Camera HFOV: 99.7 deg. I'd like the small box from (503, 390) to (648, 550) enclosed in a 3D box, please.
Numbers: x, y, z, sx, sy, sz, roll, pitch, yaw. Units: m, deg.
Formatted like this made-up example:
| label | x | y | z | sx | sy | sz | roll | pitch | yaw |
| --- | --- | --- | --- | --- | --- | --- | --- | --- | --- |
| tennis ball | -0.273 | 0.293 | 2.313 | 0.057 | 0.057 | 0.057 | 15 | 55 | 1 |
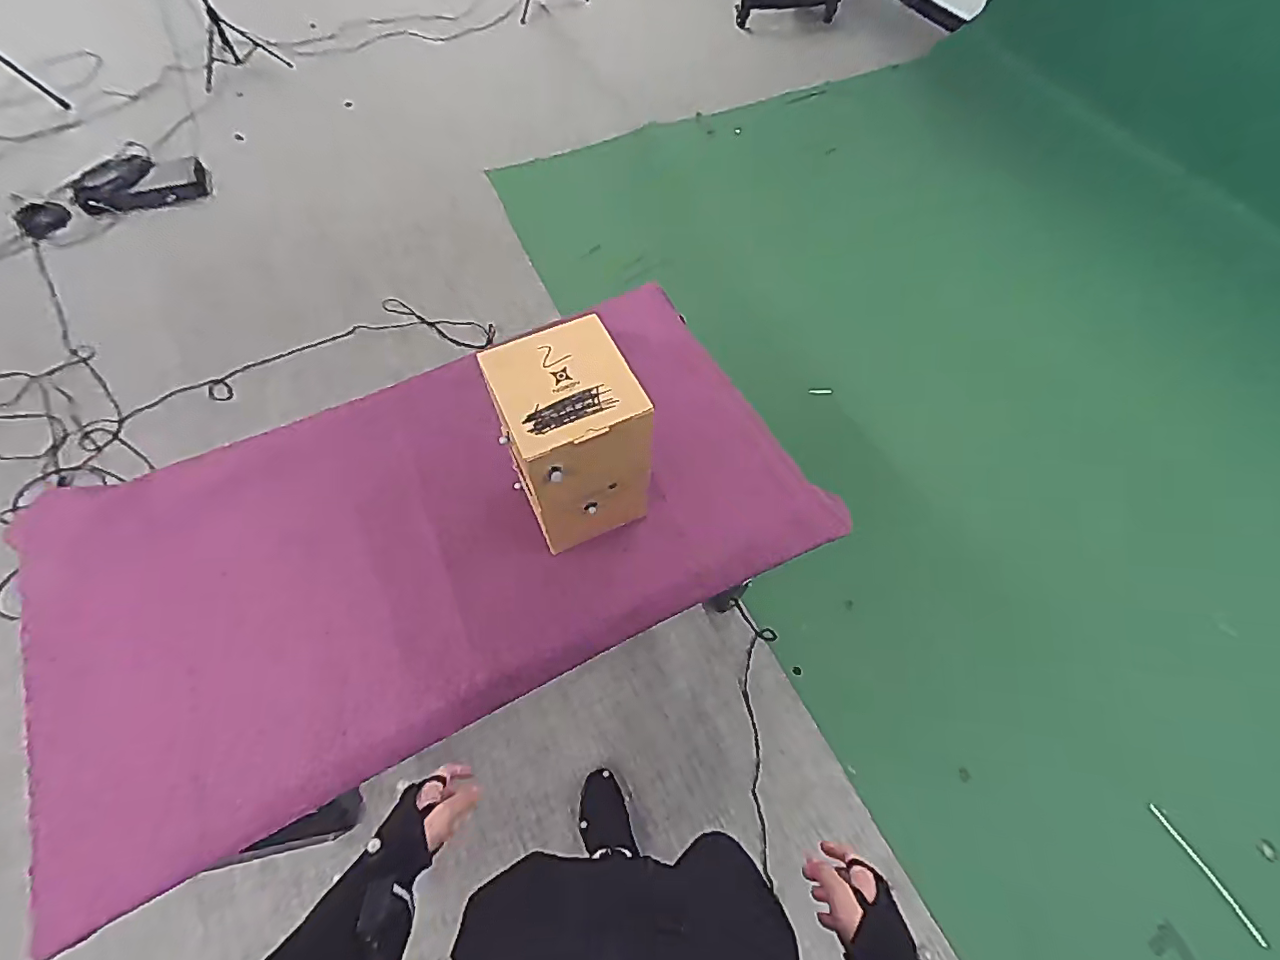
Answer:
| label | x | y | z | sx | sy | sz | roll | pitch | yaw |
| --- | --- | --- | --- | --- | --- | --- | --- | --- | --- |
| small box | -0.099 | -0.010 | 0.878 | 0.179 | 0.176 | 0.168 | -23 | 65 | -14 |
